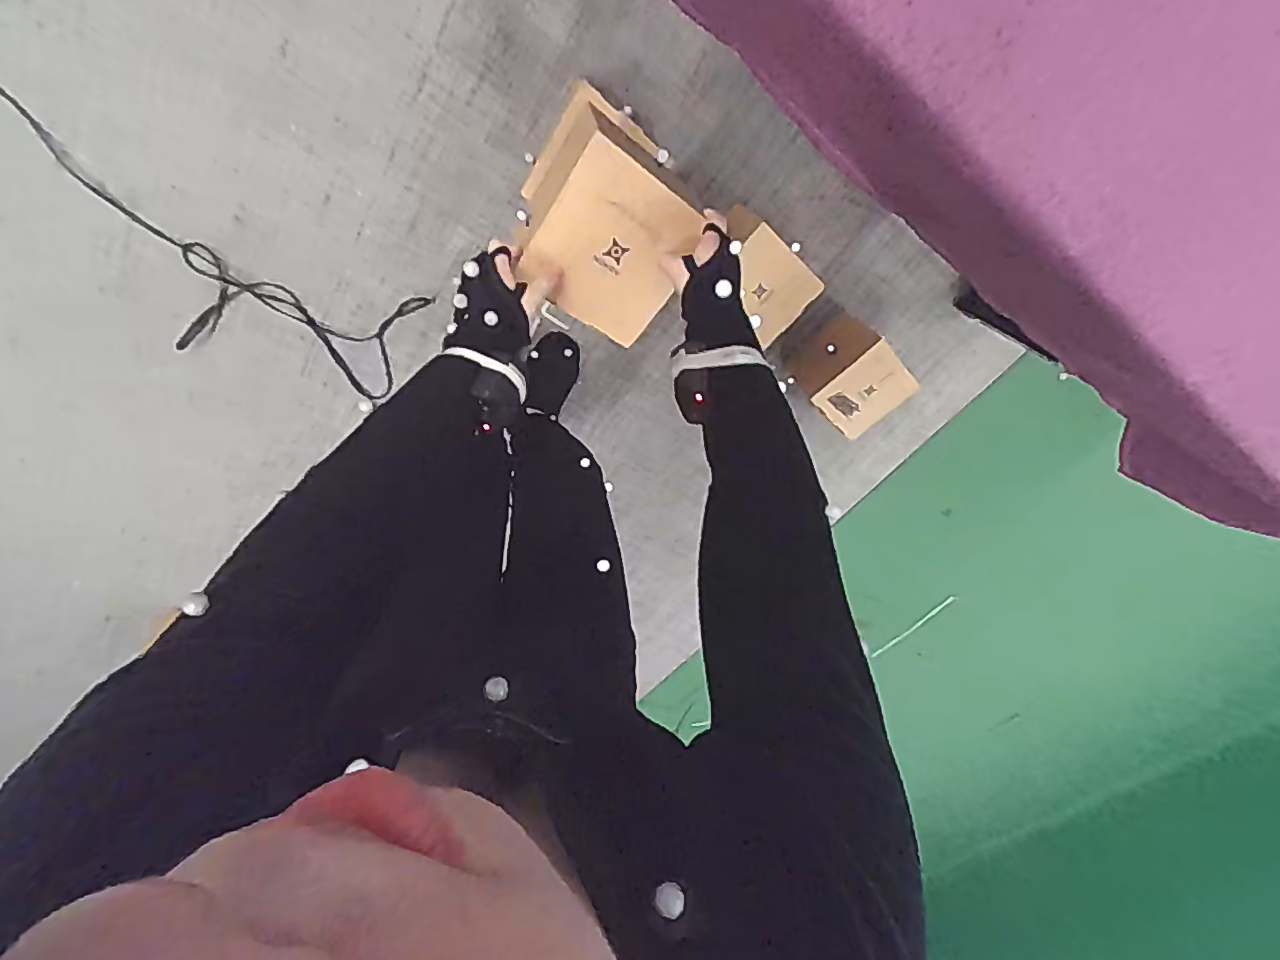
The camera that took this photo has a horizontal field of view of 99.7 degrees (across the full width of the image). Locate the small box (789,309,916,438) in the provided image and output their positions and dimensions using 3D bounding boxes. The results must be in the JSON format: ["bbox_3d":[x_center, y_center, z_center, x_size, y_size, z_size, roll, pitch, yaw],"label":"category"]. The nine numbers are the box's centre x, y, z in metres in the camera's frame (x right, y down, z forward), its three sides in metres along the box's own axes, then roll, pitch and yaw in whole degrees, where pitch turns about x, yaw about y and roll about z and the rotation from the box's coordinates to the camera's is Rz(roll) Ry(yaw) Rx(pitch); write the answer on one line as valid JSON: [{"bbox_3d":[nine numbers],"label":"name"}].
[{"bbox_3d":[0.443,-0.231,1.162,0.168,0.176,0.179,35,114,-31],"label":"small box"}]

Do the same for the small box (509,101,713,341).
[{"bbox_3d":[-0.040,-0.312,0.656,0.168,0.176,0.179,25,124,-30],"label":"small box"}]
